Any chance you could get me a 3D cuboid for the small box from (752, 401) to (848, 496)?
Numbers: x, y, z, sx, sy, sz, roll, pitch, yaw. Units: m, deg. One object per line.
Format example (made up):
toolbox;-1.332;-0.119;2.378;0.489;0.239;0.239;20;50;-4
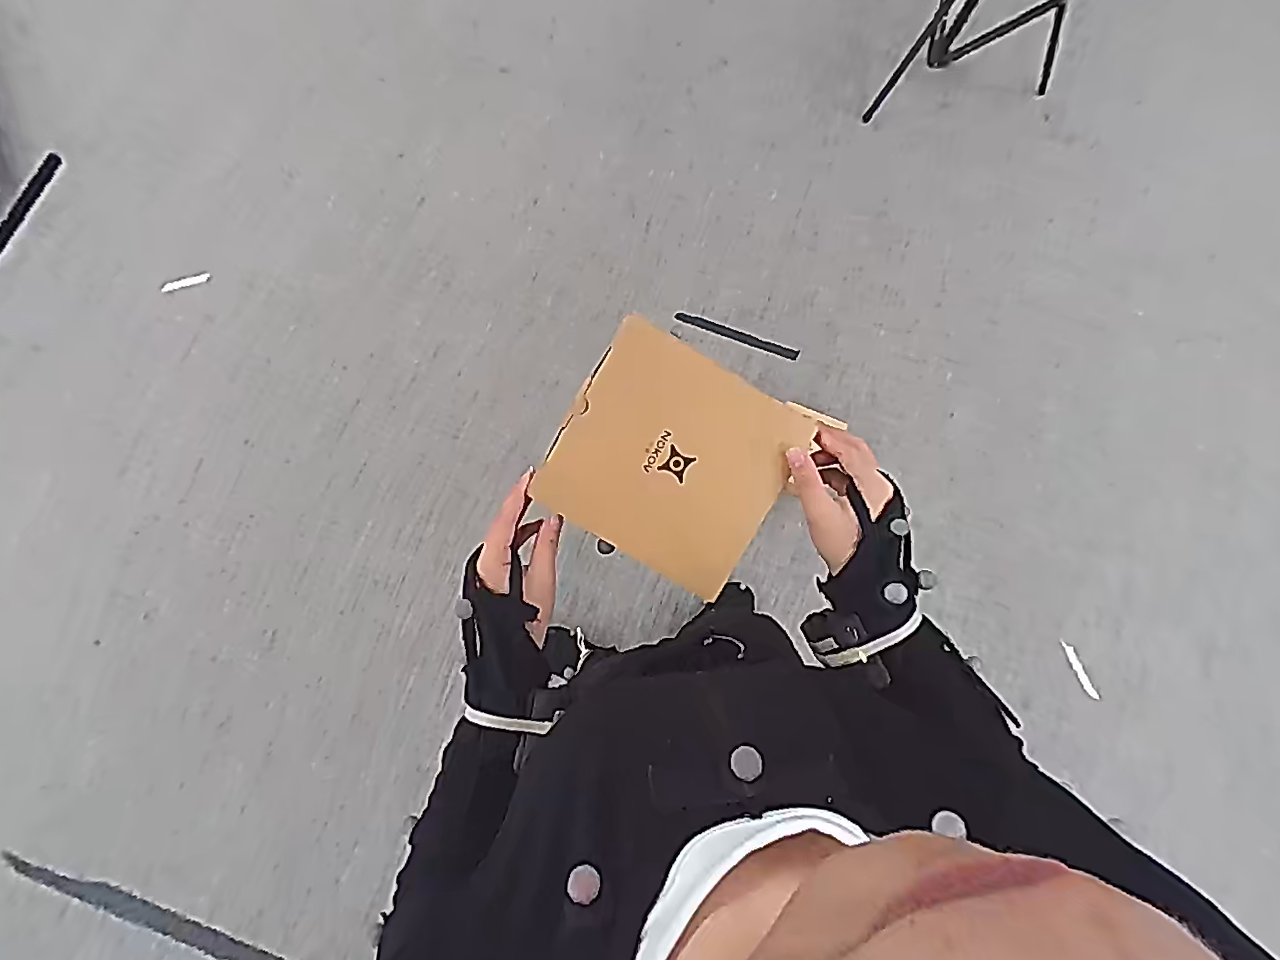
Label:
small box;0.399;-0.071;1.383;0.168;0.176;0.179;22;80;1
